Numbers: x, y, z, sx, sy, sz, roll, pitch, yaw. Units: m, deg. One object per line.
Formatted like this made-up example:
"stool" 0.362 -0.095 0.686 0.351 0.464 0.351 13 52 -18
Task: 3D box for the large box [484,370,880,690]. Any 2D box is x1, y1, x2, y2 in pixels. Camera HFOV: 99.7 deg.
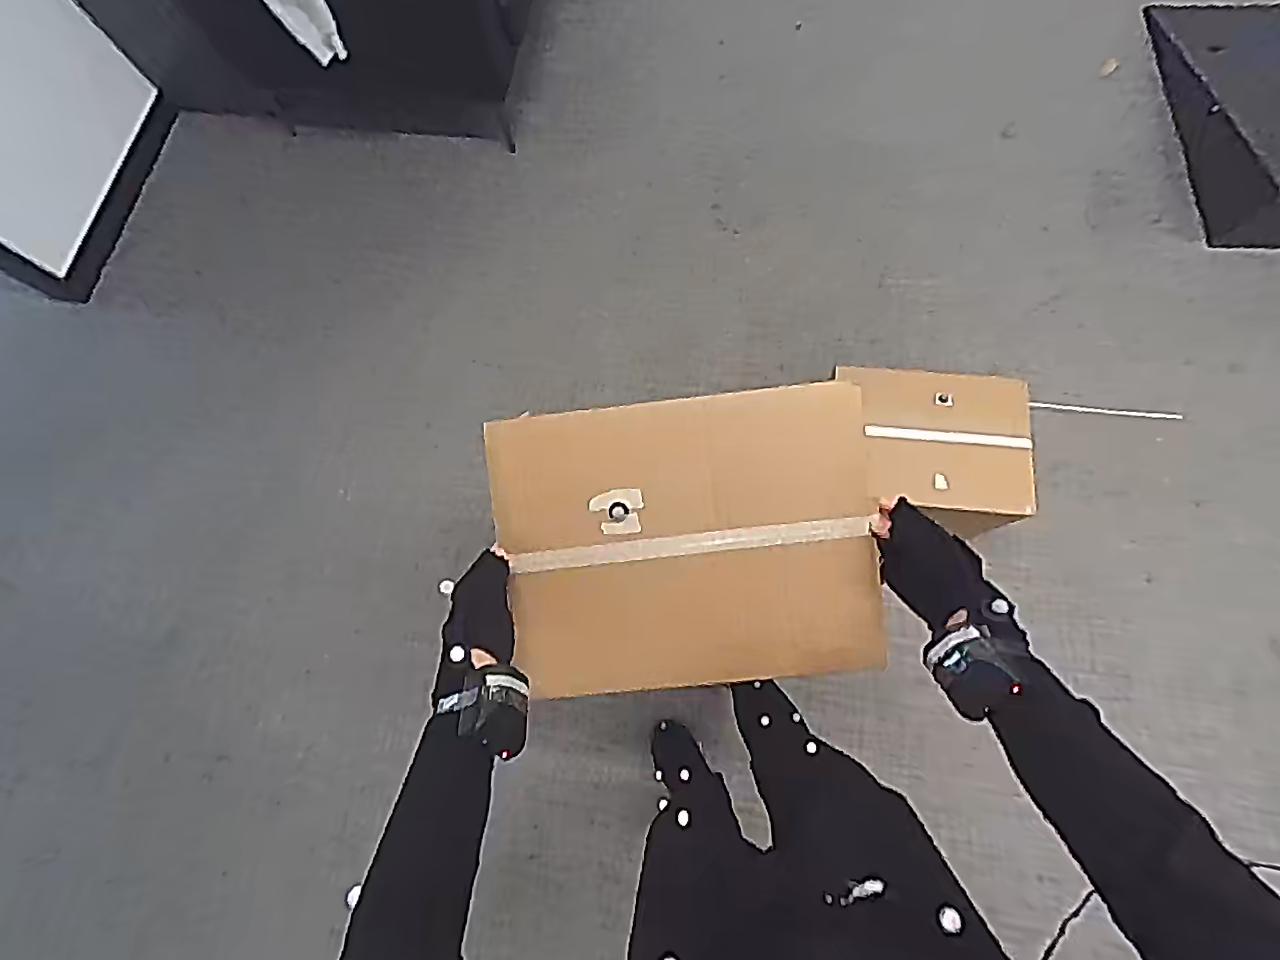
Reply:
"large box" 0.054 0.051 0.731 0.408 0.320 0.320 -7 92 5
